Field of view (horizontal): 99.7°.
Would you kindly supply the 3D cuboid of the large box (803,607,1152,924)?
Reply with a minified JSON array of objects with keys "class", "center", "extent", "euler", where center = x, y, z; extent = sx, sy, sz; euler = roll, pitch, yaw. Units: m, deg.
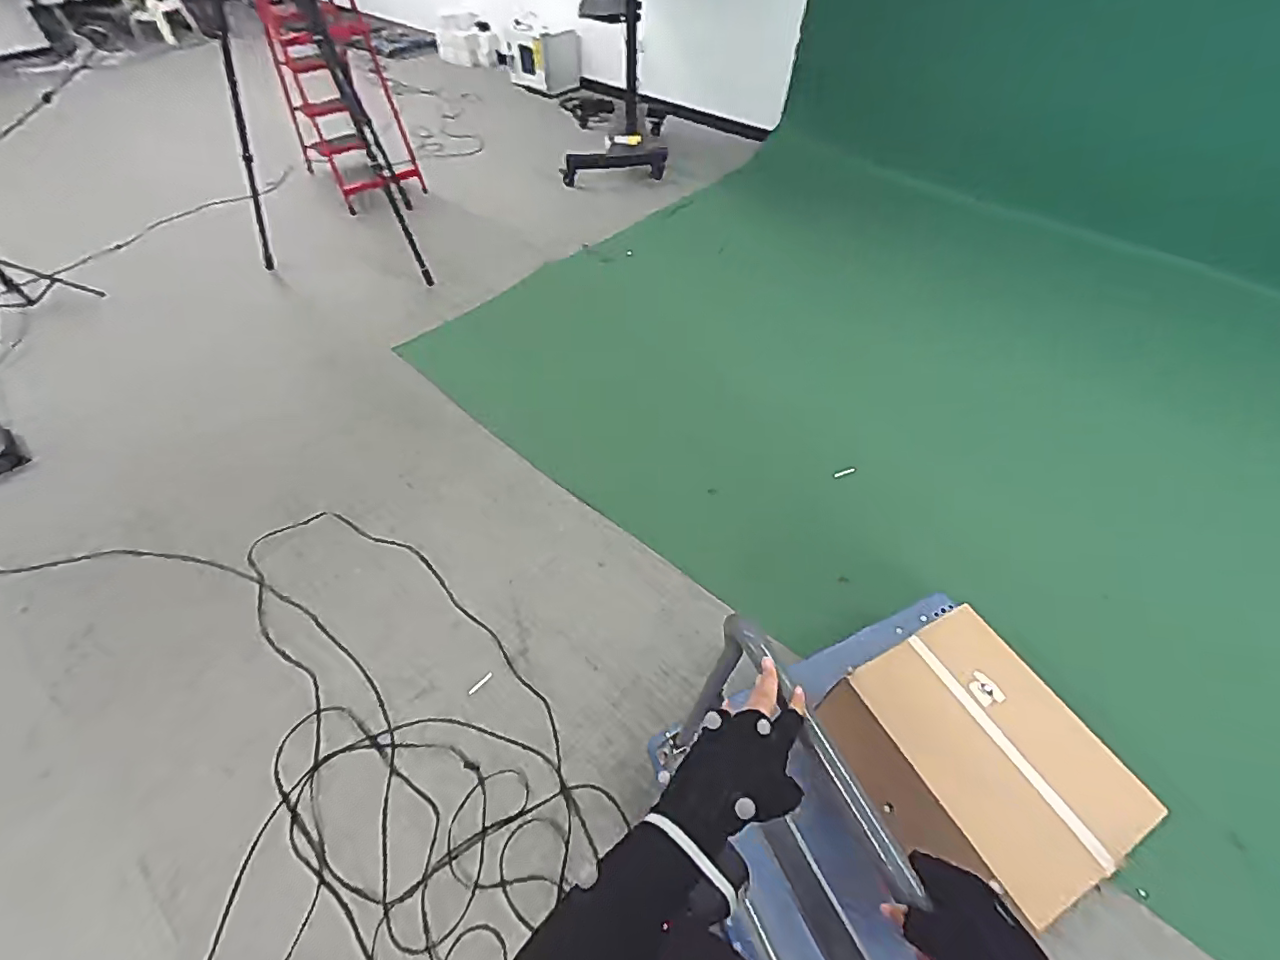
[{"class":"large box","center":[0.588,0.534,1.033],"extent":[0.320,0.320,0.408],"euler":[-21,54,-19]}]
